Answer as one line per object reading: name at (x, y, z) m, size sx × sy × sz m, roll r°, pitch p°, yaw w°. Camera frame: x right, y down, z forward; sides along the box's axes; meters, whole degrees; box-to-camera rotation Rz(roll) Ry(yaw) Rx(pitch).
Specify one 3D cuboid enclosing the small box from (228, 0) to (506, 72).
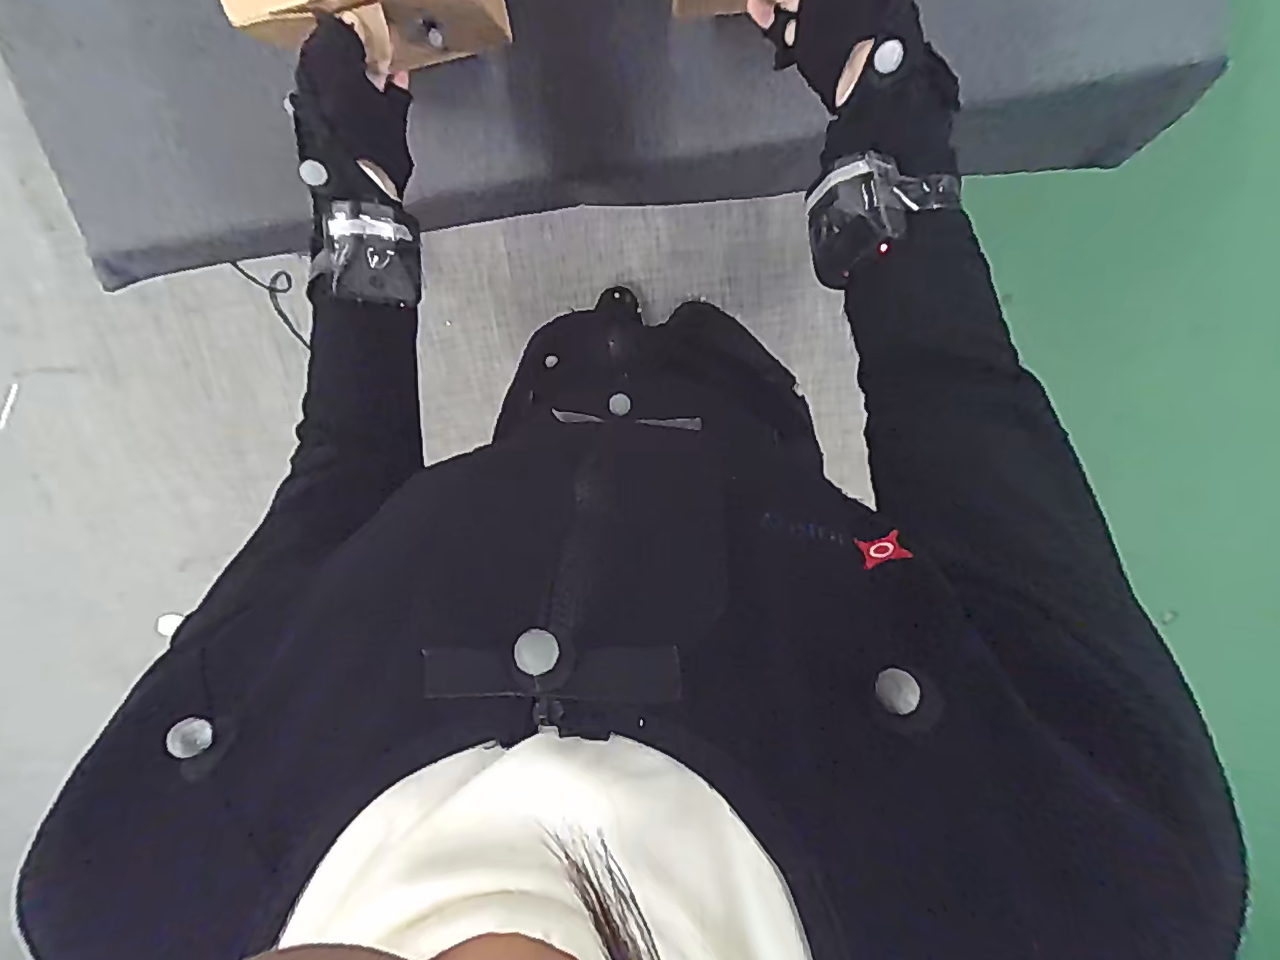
small box at (-0.221, -0.447, 0.418) m, size 0.168 × 0.176 × 0.179 m, roll -9°, pitch 114°, yaw 7°
